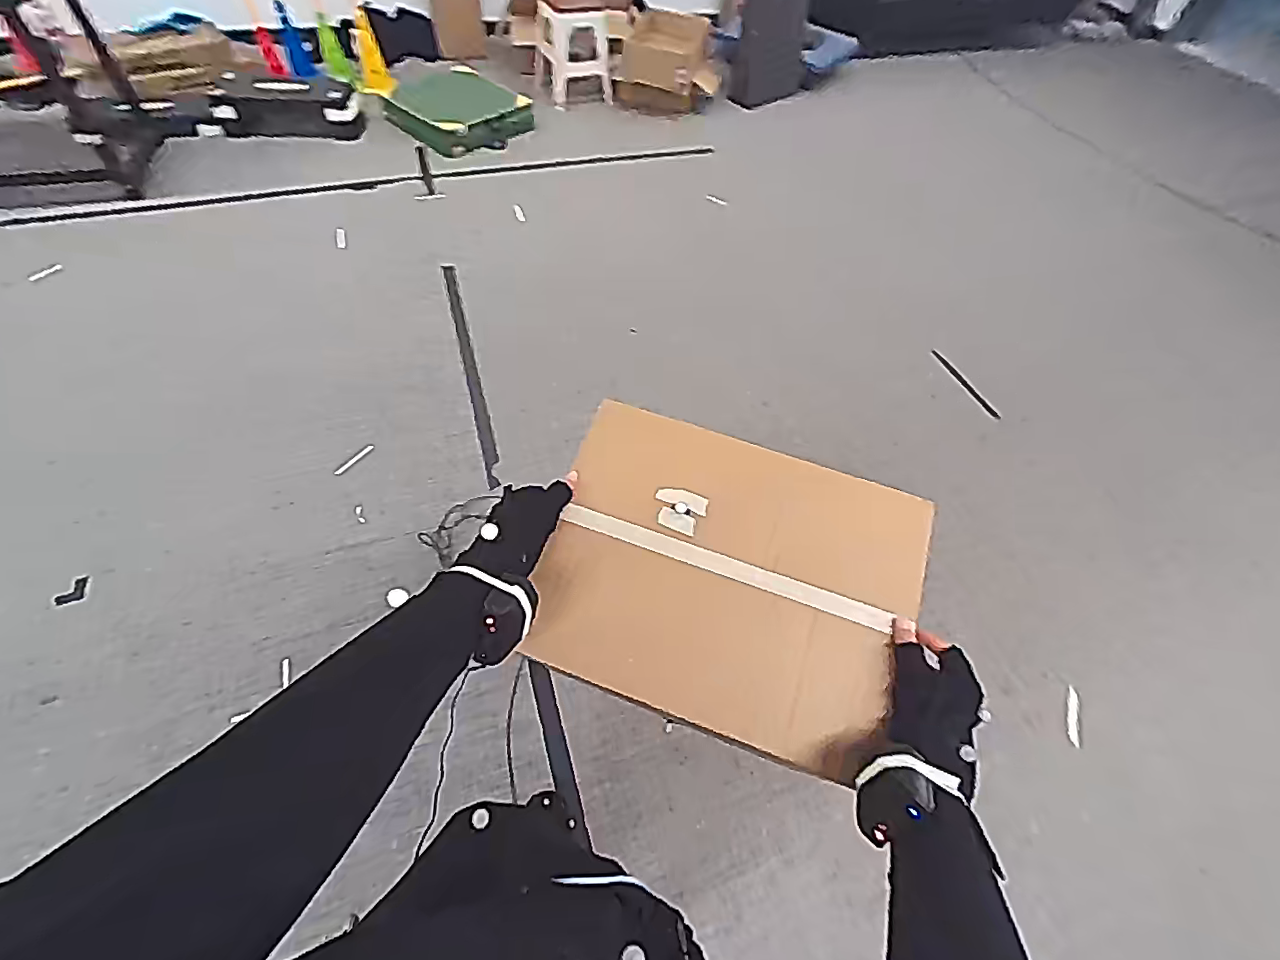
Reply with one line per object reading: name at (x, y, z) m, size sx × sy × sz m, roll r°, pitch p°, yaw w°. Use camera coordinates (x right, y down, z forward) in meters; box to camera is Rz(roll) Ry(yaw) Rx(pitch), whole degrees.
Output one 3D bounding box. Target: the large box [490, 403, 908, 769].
large box at (0.082, 0.149, 0.733) m, size 0.408 × 0.320 × 0.320 m, roll 18°, pitch 67°, yaw 10°
